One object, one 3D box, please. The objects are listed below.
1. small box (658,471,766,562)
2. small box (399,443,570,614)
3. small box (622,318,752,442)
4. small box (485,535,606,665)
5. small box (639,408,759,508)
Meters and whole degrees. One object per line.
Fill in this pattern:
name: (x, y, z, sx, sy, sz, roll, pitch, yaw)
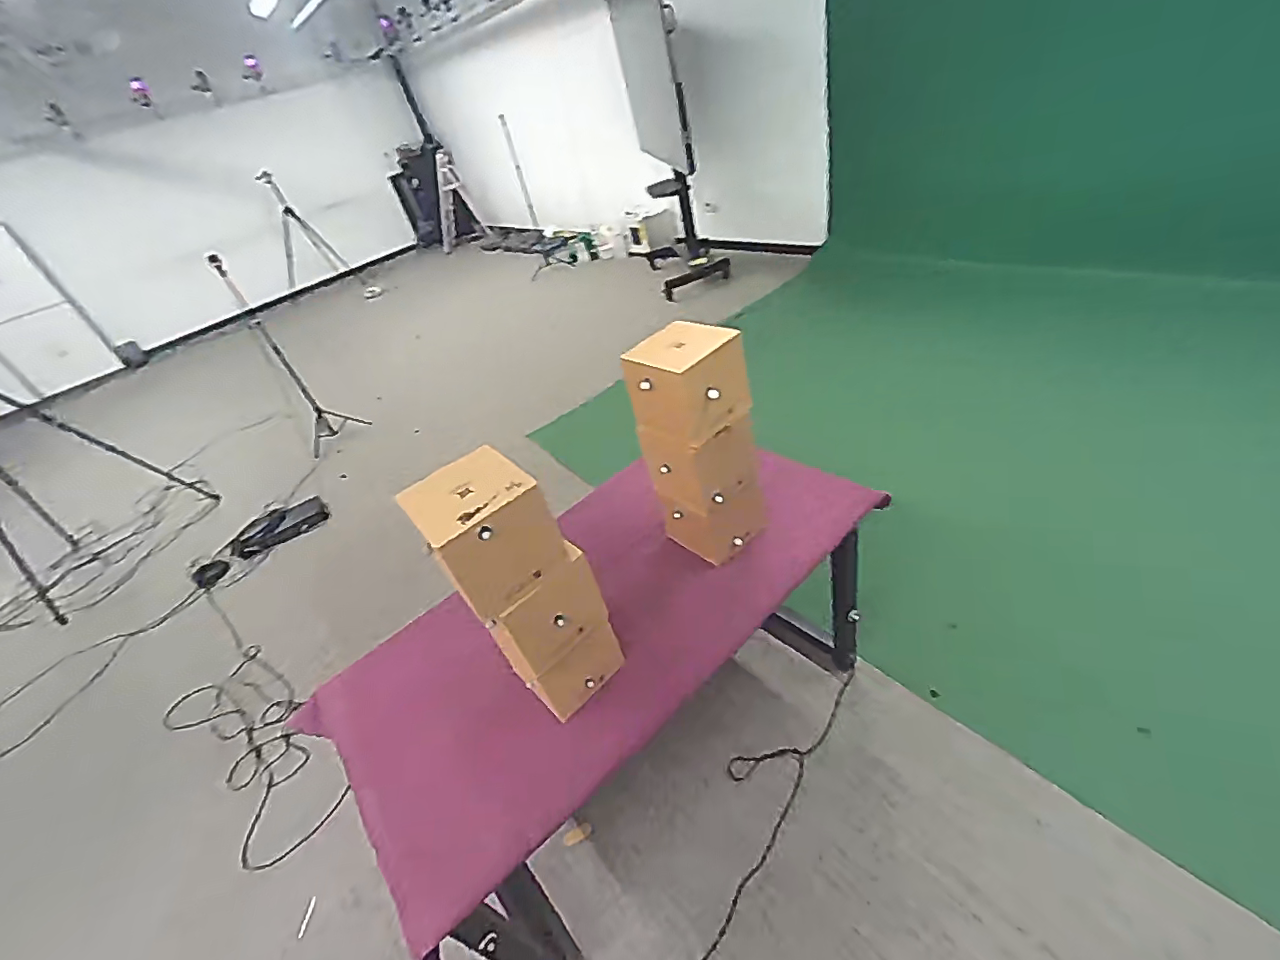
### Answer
small box: (0.170, 0.059, 1.251, 0.168, 0.176, 0.179, -36, 41, -21)
small box: (-0.237, 0.074, 0.841, 0.168, 0.176, 0.179, -36, 41, -23)
small box: (0.098, -0.195, 1.060, 0.168, 0.176, 0.179, -38, 40, -23)
small box: (-0.185, 0.191, 0.944, 0.168, 0.176, 0.179, -37, 42, -26)
small box: (0.131, -0.064, 1.151, 0.168, 0.176, 0.179, -36, 39, -22)
